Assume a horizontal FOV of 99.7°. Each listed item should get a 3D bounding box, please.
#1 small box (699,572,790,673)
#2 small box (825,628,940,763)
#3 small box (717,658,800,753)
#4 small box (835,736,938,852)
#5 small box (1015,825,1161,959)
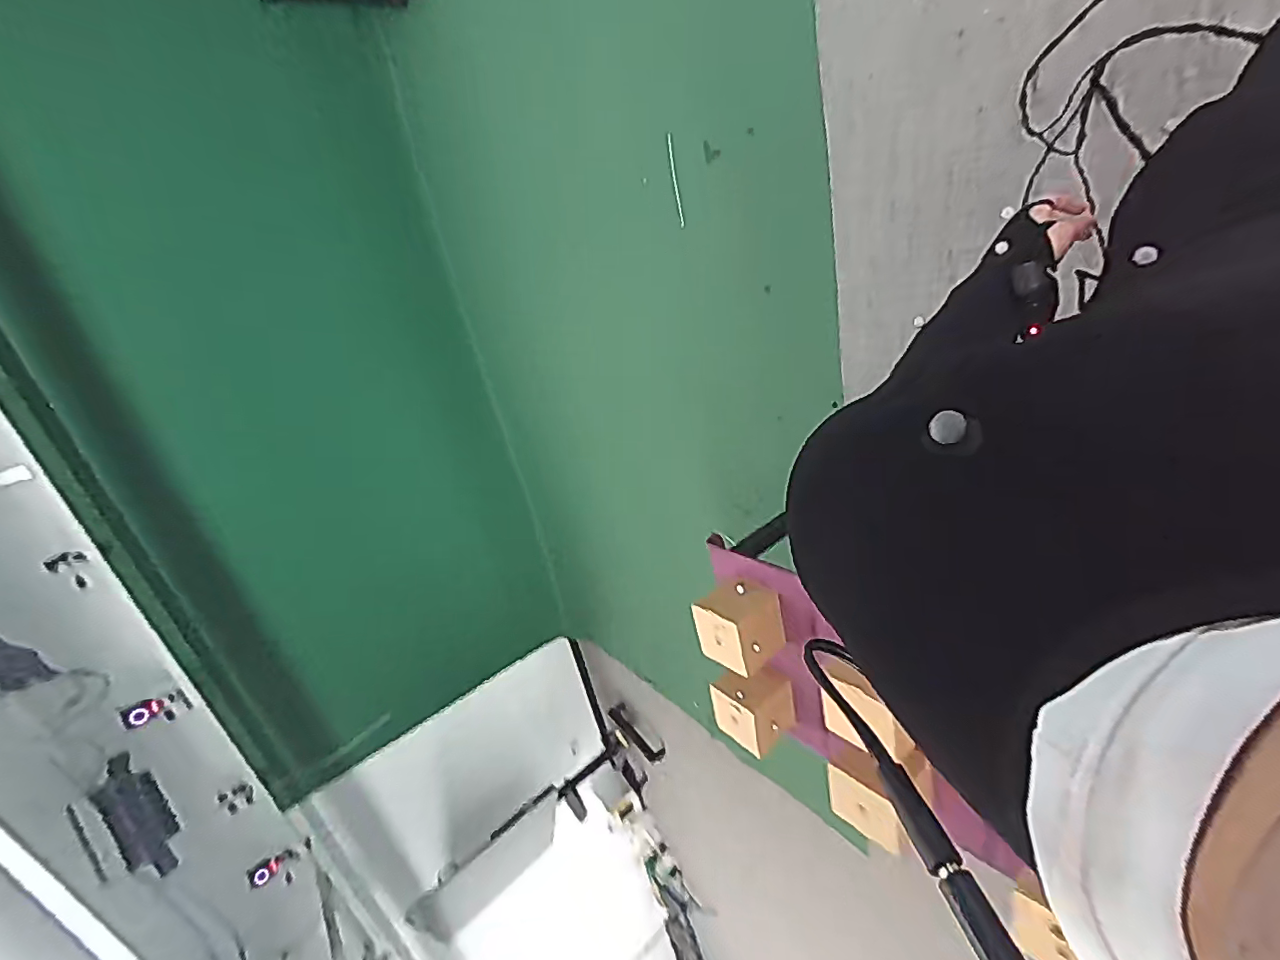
[{"bbox_3d":[0.290,0.383,1.478,0.168,0.176,0.179,14,124,51],"label":"small box"},{"bbox_3d":[0.531,0.459,1.177,0.168,0.176,0.179,17,127,52],"label":"small box"},{"bbox_3d":[0.354,0.648,1.595,0.168,0.176,0.179,18,128,50],"label":"small box"},{"bbox_3d":[0.590,0.722,1.292,0.168,0.176,0.179,17,126,50],"label":"small box"},{"bbox_3d":[0.817,0.790,0.990,0.168,0.176,0.179,16,126,52],"label":"small box"}]
